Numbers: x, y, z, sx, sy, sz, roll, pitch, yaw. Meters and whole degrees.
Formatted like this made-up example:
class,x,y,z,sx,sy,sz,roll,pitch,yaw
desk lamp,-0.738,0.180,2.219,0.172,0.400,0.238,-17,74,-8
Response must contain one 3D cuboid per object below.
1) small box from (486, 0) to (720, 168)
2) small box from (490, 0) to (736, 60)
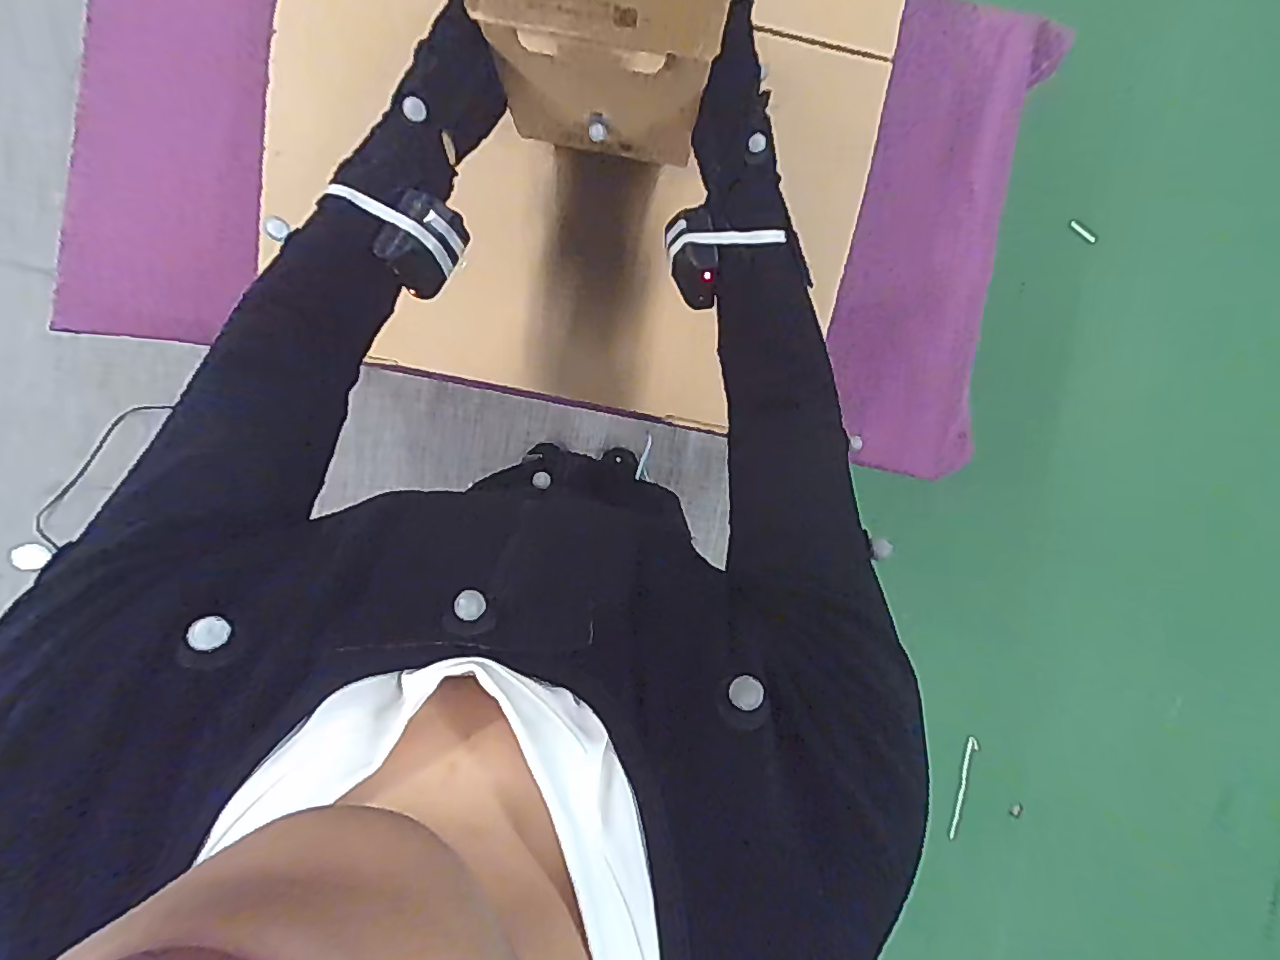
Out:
class,x,y,z,sx,sy,sz,roll,pitch,yaw
small box,-0.014,-0.392,0.433,0.168,0.176,0.179,10,95,-2
small box,-0.011,-0.369,0.272,0.168,0.176,0.179,8,96,-3
